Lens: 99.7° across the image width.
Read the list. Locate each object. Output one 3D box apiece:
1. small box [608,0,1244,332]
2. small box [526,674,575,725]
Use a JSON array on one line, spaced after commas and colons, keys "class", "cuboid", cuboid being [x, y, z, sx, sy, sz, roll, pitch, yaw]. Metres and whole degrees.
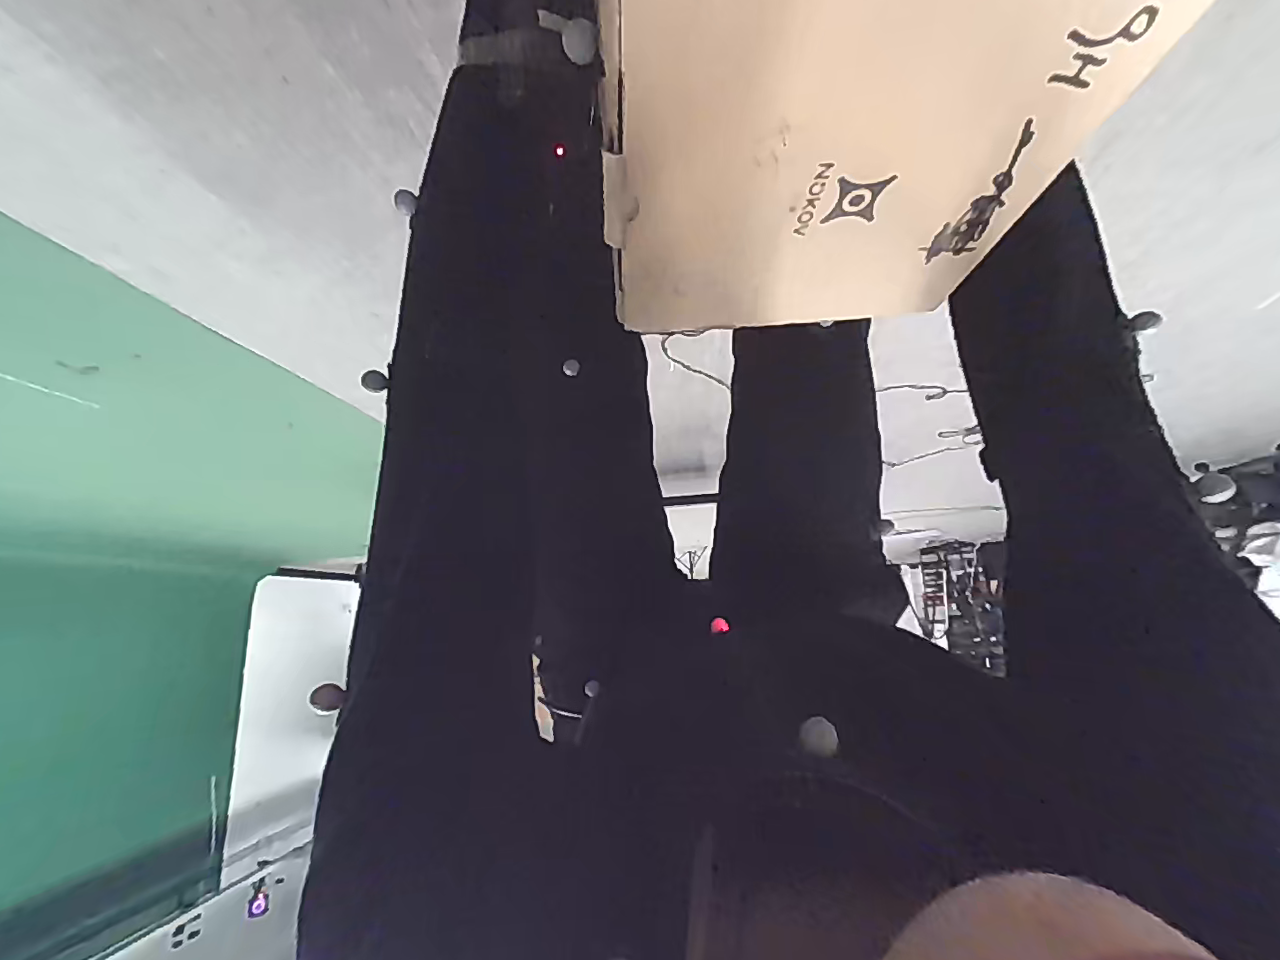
[{"class": "small box", "cuboid": [0.075, -0.185, 0.236, 0.179, 0.176, 0.168, -3, 162, -4]}, {"class": "small box", "cuboid": [-0.363, 0.885, 2.193, 0.168, 0.176, 0.179, -5, 166, 2]}]
